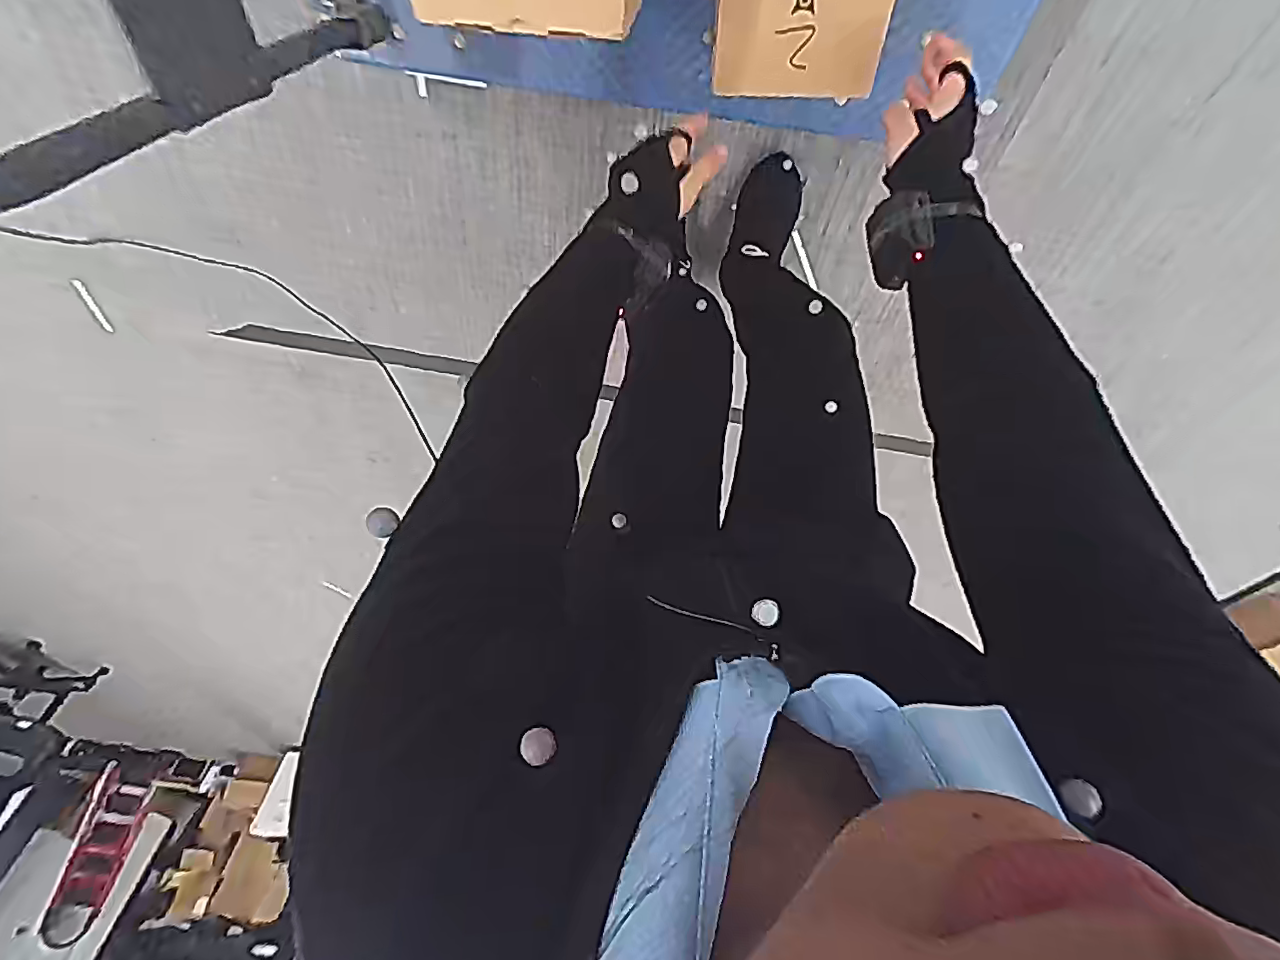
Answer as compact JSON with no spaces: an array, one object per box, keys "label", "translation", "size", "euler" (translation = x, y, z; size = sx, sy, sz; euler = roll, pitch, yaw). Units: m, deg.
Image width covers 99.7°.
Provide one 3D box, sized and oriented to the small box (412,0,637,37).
[{"label":"small box","translation":[-0.082,-0.468,0.408],"size":[0.168,0.176,0.179],"euler":[6,139,1]}]
